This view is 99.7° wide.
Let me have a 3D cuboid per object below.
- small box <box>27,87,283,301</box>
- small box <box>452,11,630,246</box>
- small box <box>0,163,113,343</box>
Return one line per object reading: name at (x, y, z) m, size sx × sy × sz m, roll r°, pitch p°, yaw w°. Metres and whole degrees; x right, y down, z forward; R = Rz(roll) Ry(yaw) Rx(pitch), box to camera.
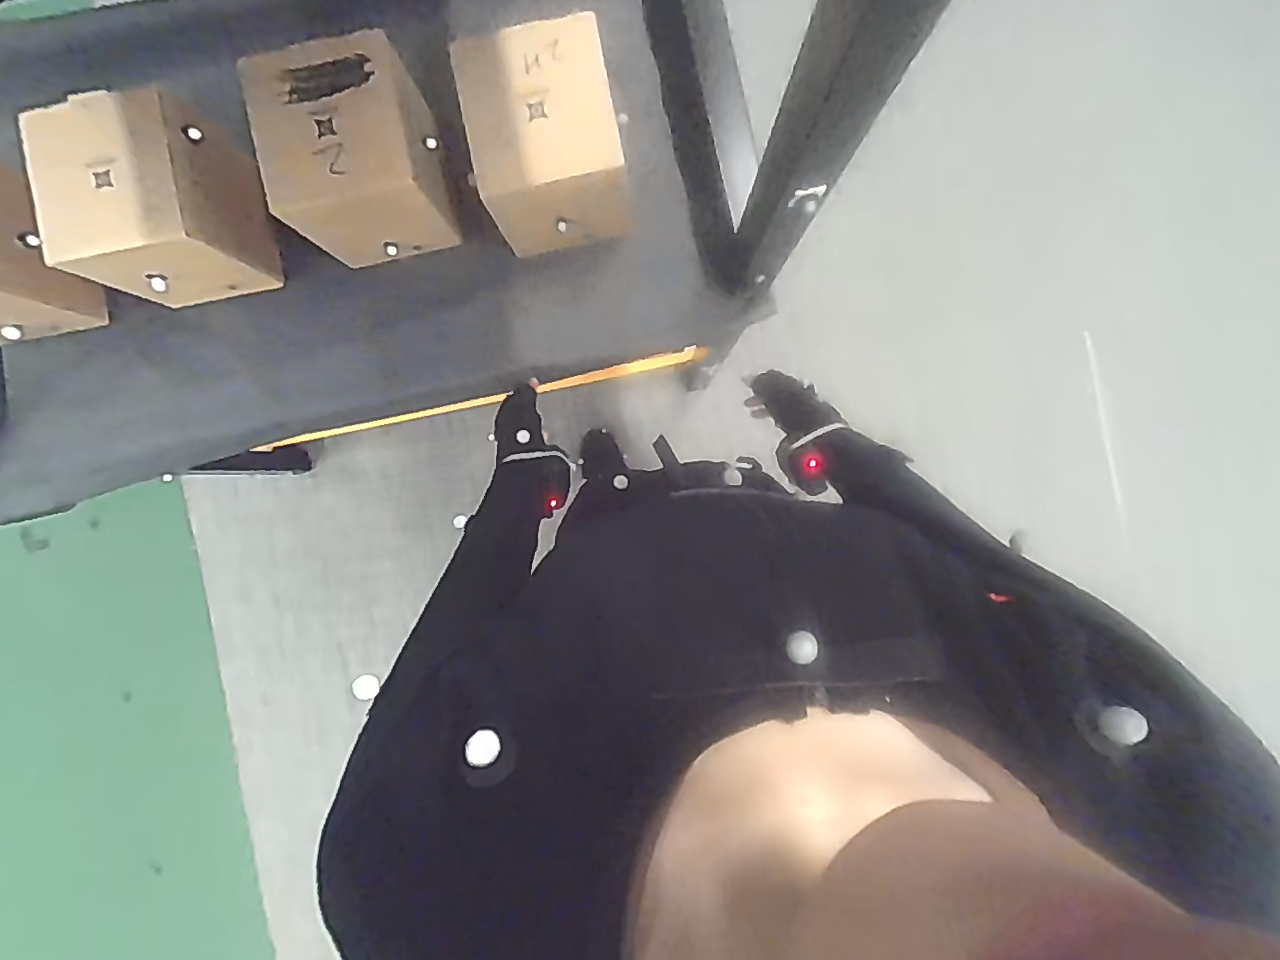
small box at (-0.594, -0.343, 0.688) m, size 0.168 × 0.176 × 0.179 m, roll -11°, pitch 90°, yaw 1°
small box at (-0.109, -0.413, 0.672) m, size 0.168 × 0.176 × 0.179 m, roll -12°, pitch 90°, yaw 2°
small box at (-0.842, -0.292, 0.691) m, size 0.168 × 0.176 × 0.179 m, roll -11°, pitch 91°, yaw 1°
